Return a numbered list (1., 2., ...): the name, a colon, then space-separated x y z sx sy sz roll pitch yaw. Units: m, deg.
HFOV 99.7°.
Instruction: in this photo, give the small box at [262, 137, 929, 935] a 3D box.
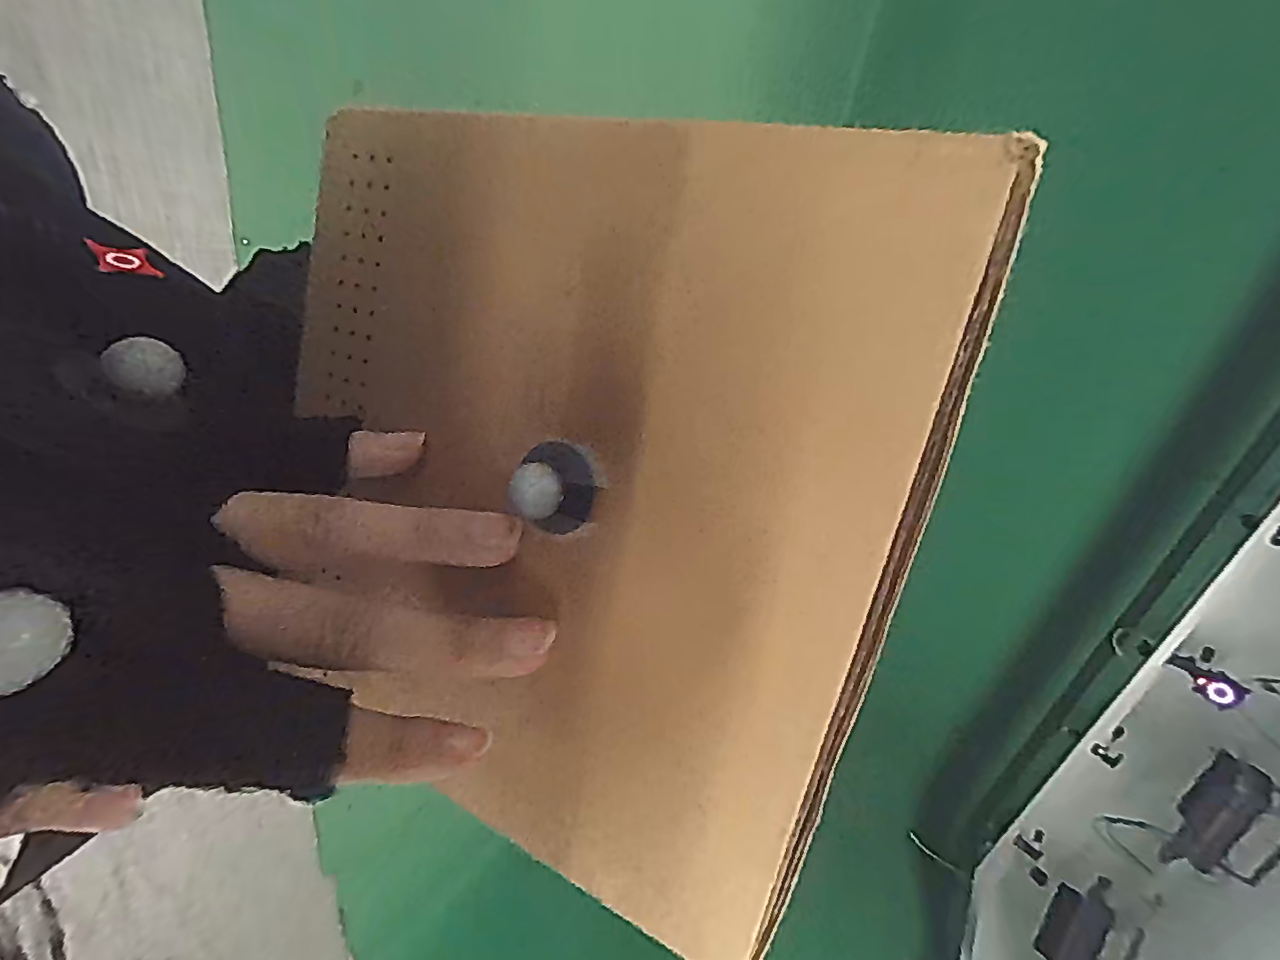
1. small box: -0.010 -0.002 0.212 0.168 0.176 0.179 -12 117 -67
